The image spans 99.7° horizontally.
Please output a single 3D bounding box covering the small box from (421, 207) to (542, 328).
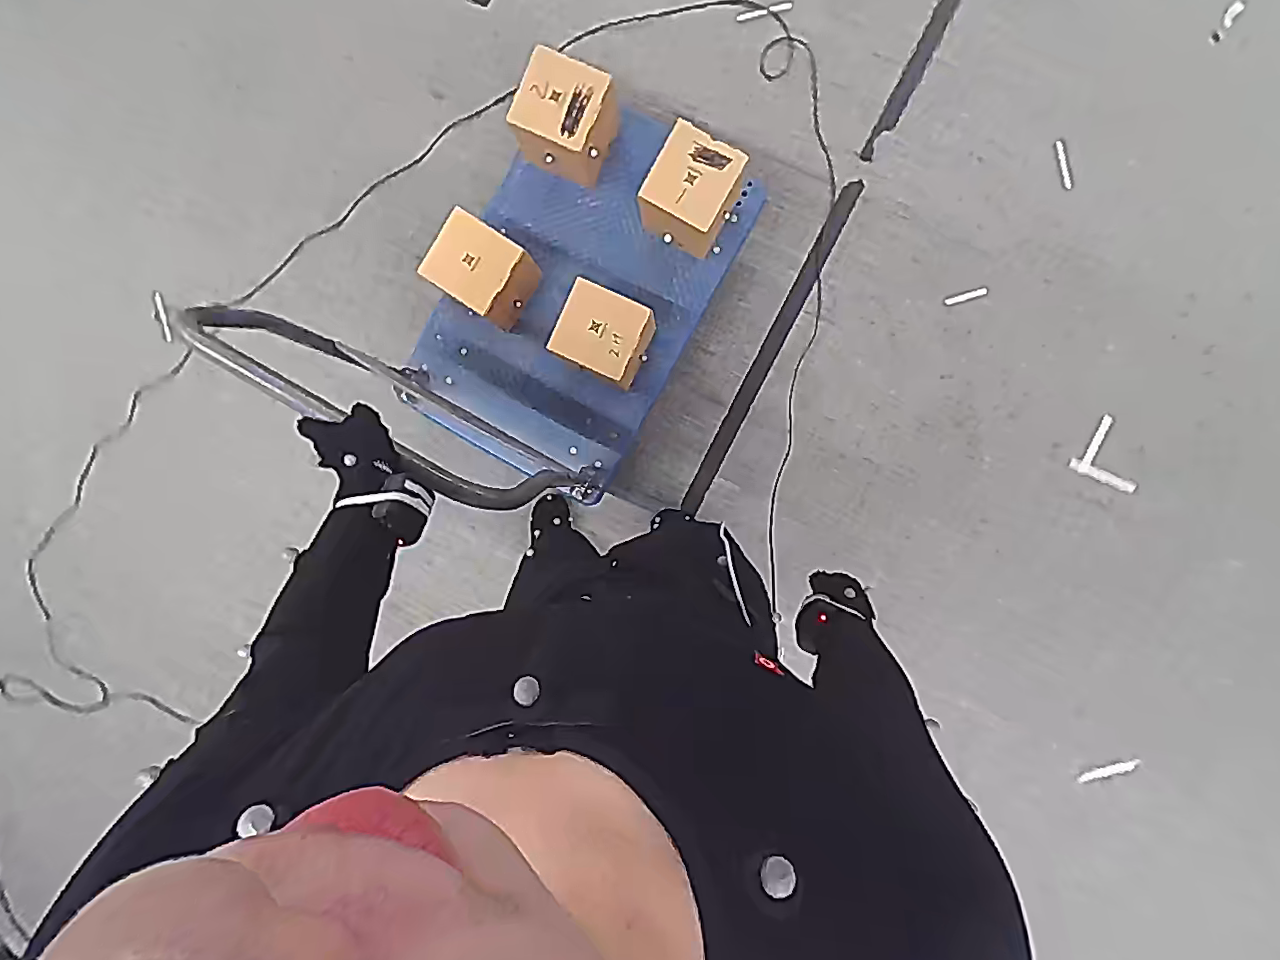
[{"bbox_3d":[-0.348,-0.467,1.219,0.179,0.176,0.168,33,94,0],"label":"small box"}]

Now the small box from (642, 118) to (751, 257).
[{"bbox_3d":[0.118,-0.625,1.176,0.168,0.176,0.179,30,96,2],"label":"small box"}]

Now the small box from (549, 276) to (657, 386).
[{"bbox_3d":[-0.075,-0.320,1.207,0.179,0.176,0.168,25,95,3],"label":"small box"}]
